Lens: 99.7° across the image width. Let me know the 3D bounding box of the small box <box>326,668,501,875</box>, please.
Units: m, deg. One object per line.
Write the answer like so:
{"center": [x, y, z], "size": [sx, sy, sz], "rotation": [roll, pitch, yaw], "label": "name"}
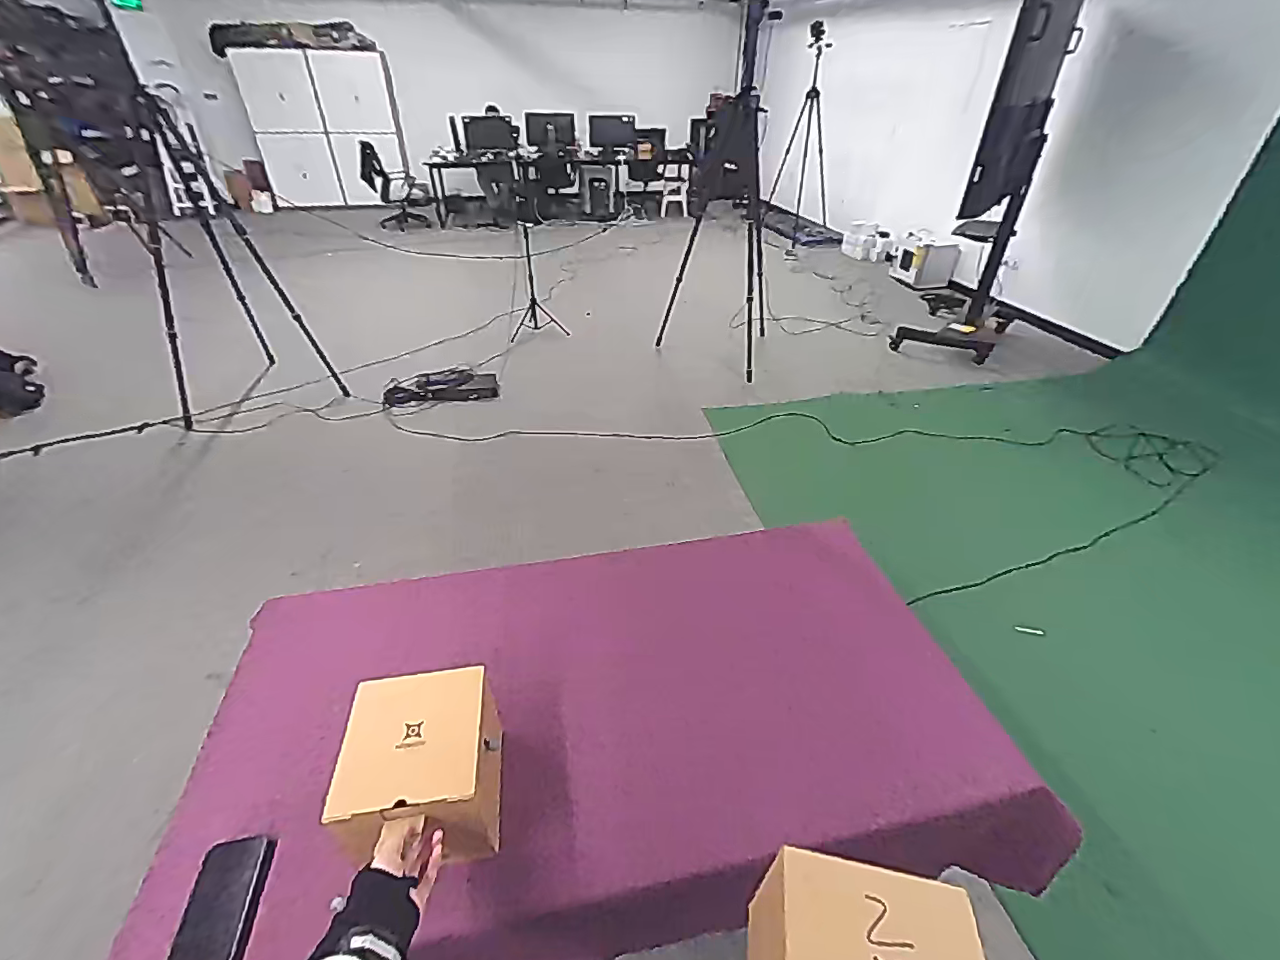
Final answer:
{"center": [-0.279, 0.379, 0.713], "size": [0.168, 0.176, 0.179], "rotation": [-5, 37, -8], "label": "small box"}
